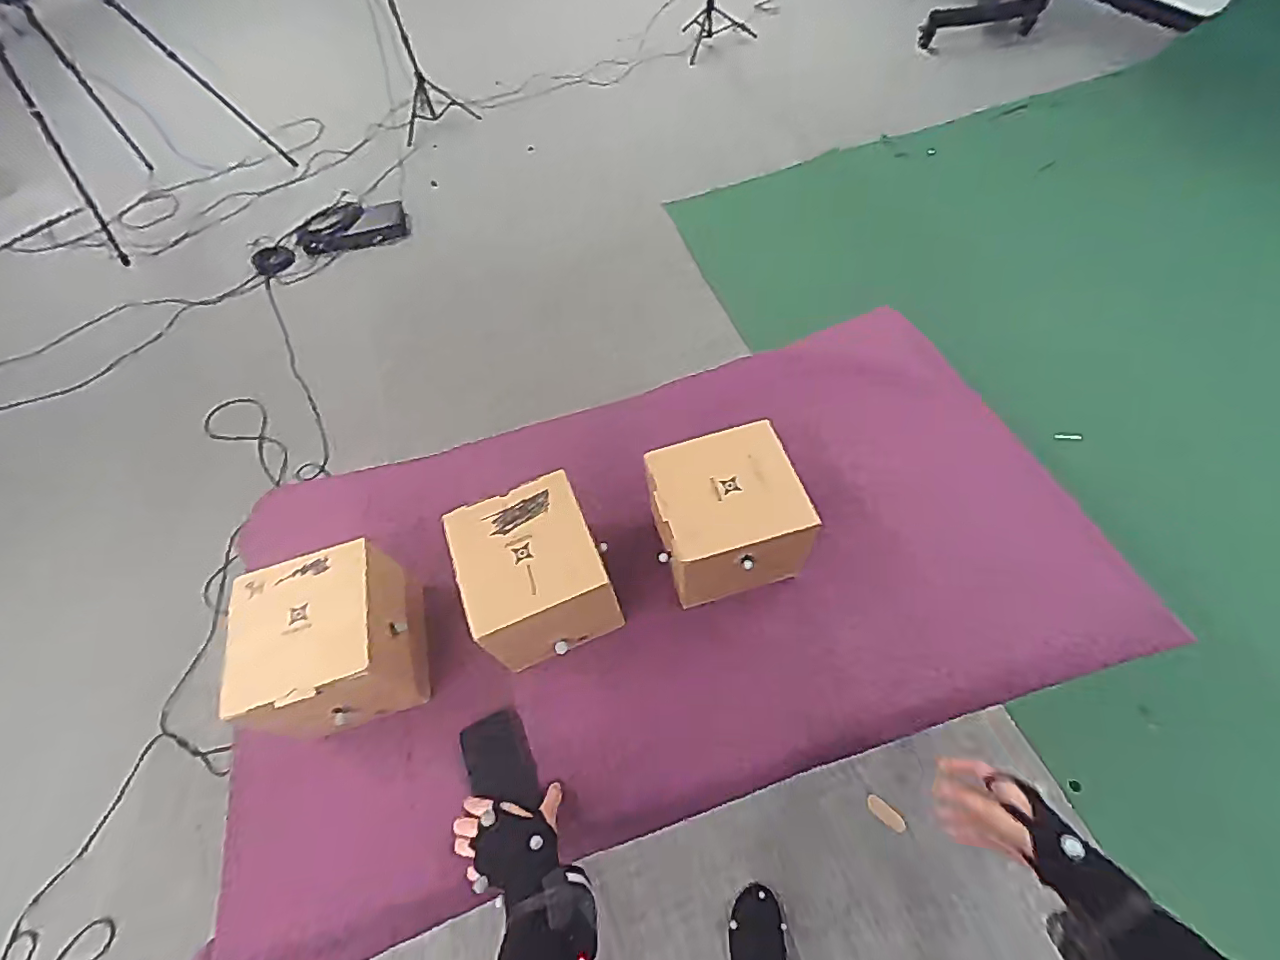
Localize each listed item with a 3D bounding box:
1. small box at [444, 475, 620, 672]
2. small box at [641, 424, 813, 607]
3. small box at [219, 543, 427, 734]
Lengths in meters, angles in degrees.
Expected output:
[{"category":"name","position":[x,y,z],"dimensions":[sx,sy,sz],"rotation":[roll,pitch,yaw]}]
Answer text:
[{"category":"small box","position":[-0.137,0.128,0.720],"dimensions":[0.168,0.176,0.179],"rotation":[-22,58,-7]},{"category":"small box","position":[0.112,0.055,0.739],"dimensions":[0.179,0.176,0.168],"rotation":[-15,58,-3]},{"category":"small box","position":[-0.391,0.212,0.696],"dimensions":[0.168,0.176,0.179],"rotation":[-17,58,-4]}]
